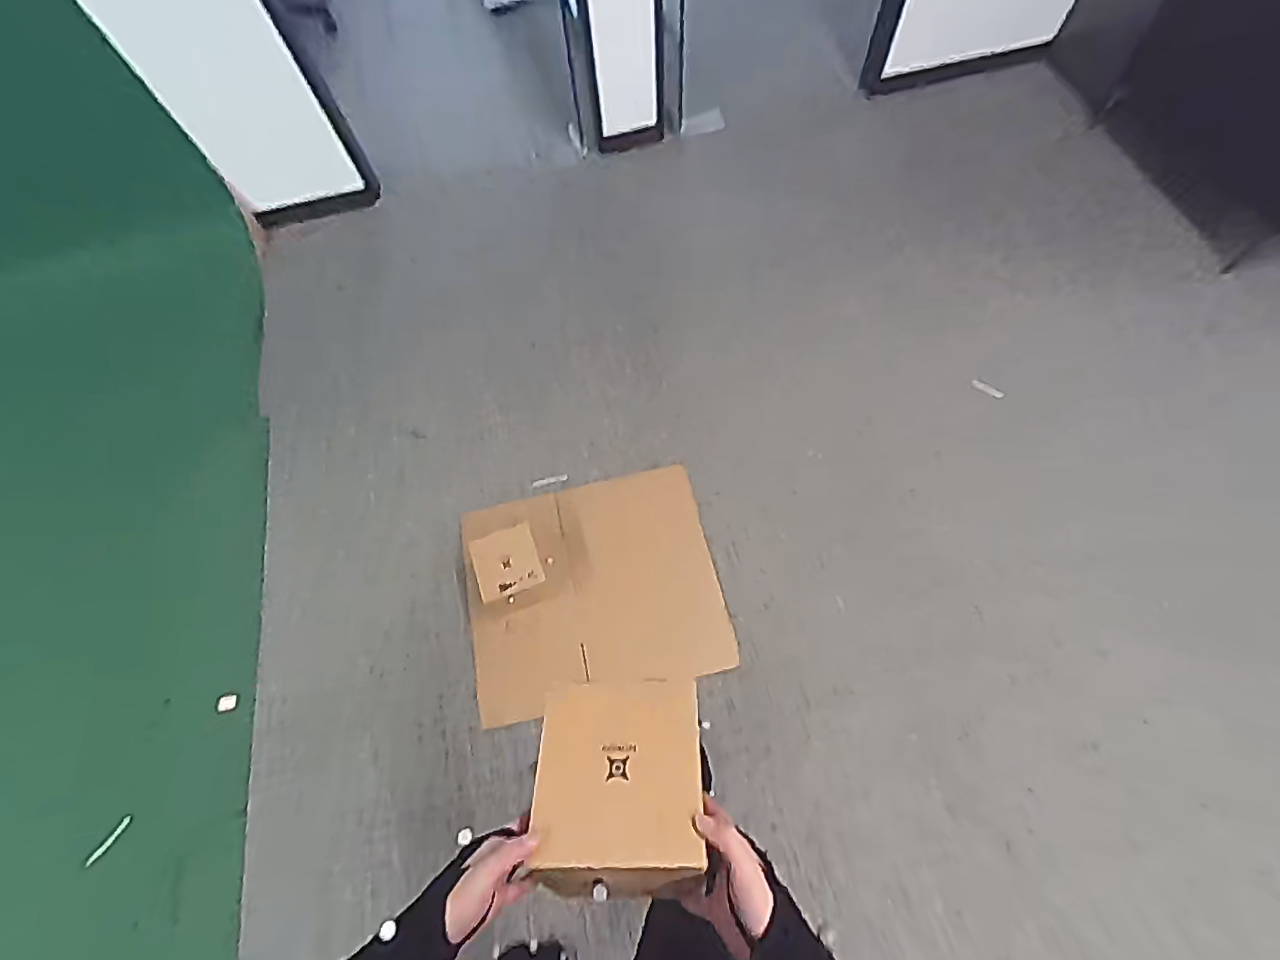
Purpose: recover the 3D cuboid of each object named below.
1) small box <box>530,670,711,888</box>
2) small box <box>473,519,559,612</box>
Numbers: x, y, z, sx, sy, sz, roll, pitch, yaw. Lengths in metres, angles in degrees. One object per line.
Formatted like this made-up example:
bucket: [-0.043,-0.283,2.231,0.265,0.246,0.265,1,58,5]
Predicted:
small box: [-0.010,0.332,0.596,0.168,0.176,0.179,-4,44,4]
small box: [-0.330,0.235,1.455,0.168,0.176,0.179,-20,66,-6]
